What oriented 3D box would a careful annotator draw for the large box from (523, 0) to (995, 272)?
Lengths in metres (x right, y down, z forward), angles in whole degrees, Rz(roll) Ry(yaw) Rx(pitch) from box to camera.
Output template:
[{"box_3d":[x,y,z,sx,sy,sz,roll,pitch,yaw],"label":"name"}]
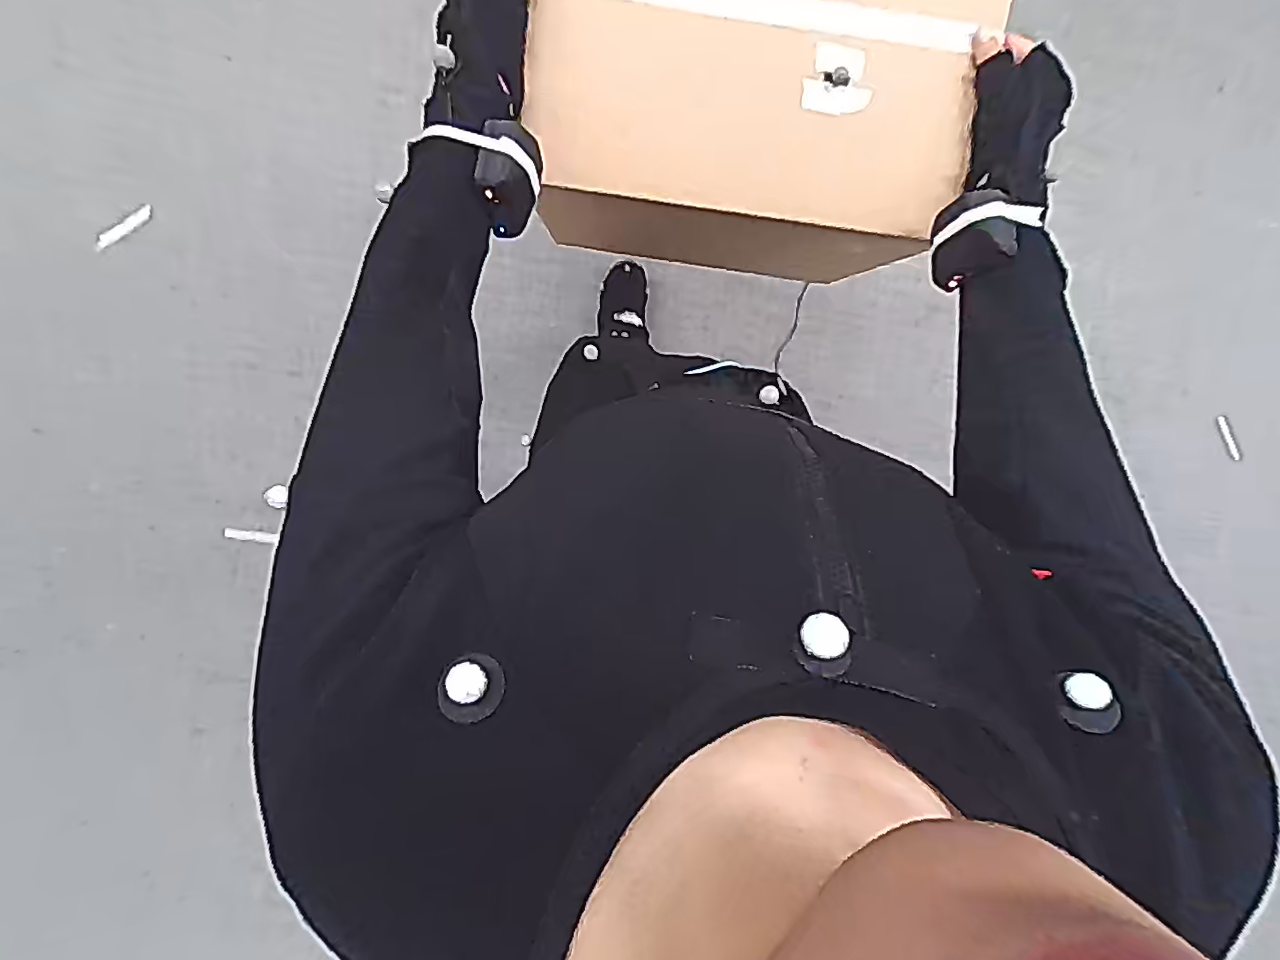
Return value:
[{"box_3d":[0.099,-0.439,0.608,0.408,0.320,0.320,7,104,-4],"label":"large box"}]
